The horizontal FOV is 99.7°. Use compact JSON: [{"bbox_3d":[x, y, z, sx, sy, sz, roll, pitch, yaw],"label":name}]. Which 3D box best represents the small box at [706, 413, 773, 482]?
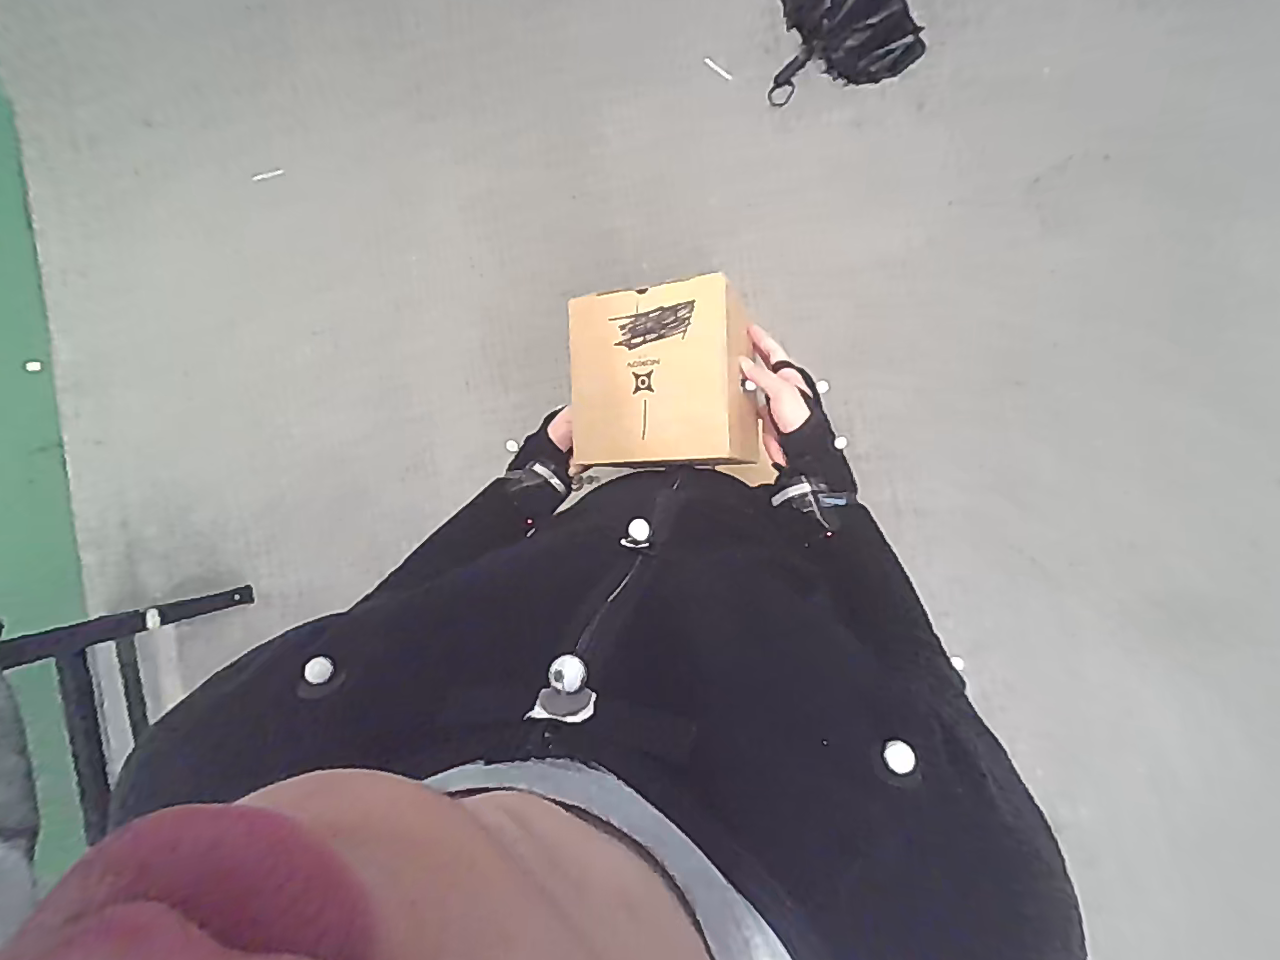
[{"bbox_3d":[0.263,-0.084,1.461,0.168,0.176,0.179,1,92,8],"label":"small box"}]
